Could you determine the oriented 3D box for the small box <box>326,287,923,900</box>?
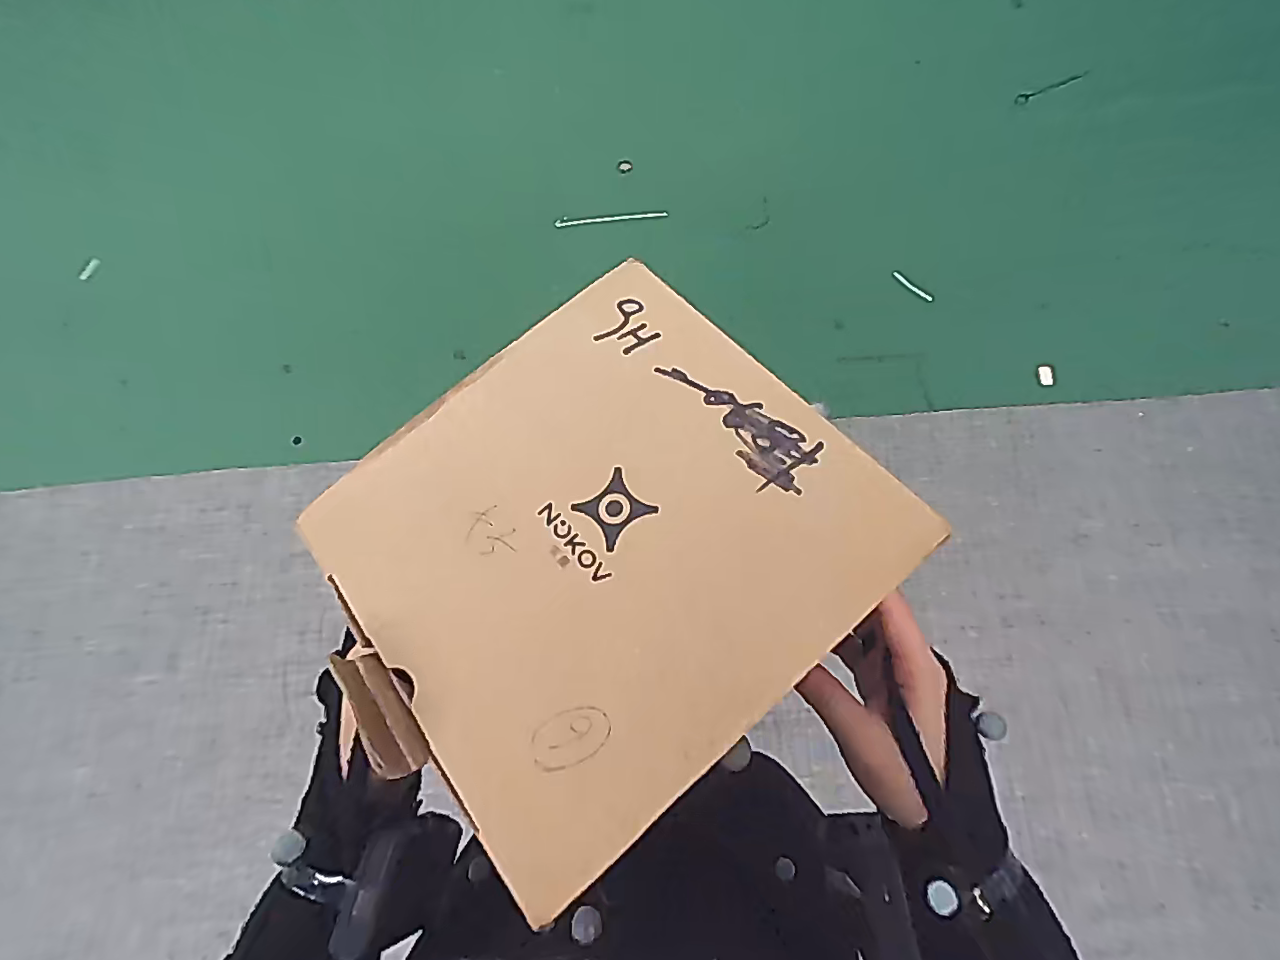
[{"bbox_3d":[-0.003,0.050,0.278,0.179,0.176,0.168,-41,70,-8],"label":"small box"}]
